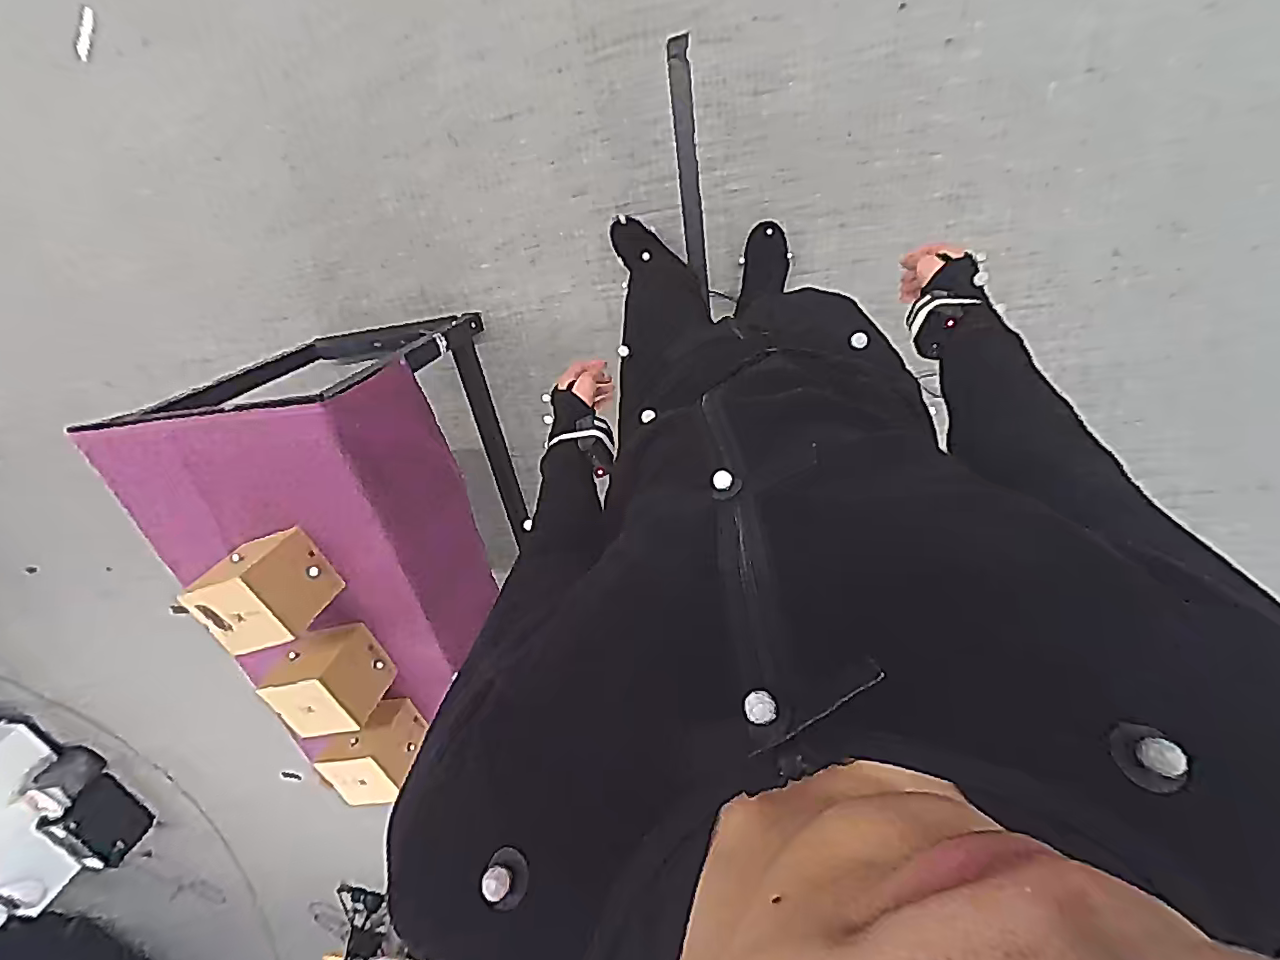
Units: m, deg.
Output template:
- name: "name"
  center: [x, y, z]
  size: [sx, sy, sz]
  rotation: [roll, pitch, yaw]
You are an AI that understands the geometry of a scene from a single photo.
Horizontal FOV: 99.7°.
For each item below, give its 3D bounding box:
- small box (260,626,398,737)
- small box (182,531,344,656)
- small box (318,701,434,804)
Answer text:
- name: "small box"
  center: [-0.699, 0.458, 1.237]
  size: [0.179, 0.176, 0.168]
  rotation: [-13, 118, 17]
- name: "small box"
  center: [-0.764, 0.230, 1.115]
  size: [0.179, 0.176, 0.168]
  rotation: [-17, 116, 18]
- name: "small box"
  center: [-0.646, 0.677, 1.353]
  size: [0.179, 0.176, 0.168]
  rotation: [-12, 116, 17]
